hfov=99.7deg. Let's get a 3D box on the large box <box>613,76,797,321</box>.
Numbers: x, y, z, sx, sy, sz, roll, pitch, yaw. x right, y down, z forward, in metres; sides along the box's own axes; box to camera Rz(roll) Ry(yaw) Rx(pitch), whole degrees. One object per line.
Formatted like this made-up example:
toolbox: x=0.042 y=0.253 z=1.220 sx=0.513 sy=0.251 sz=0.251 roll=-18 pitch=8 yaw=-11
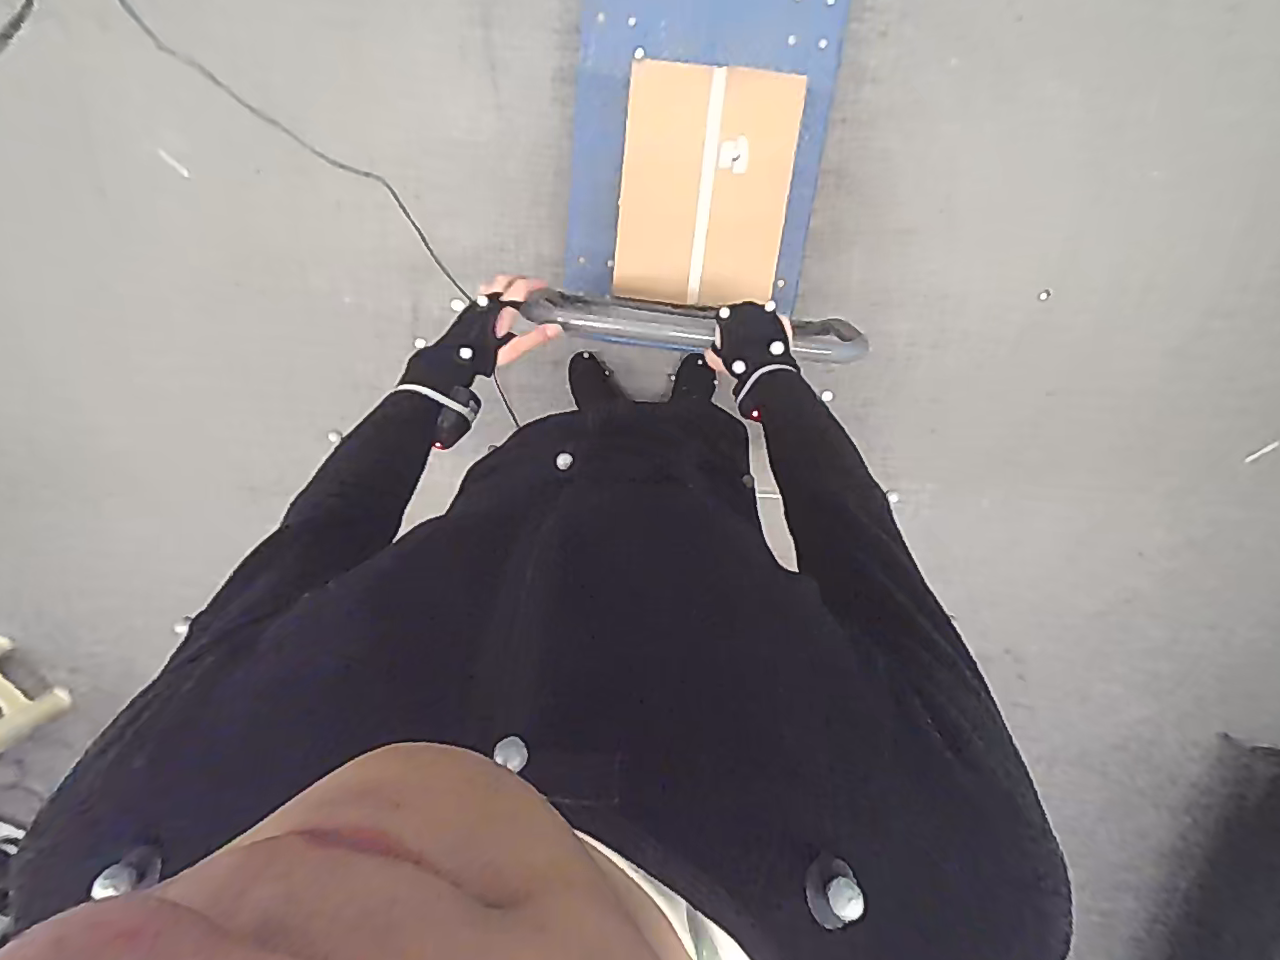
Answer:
large box: x=0.123 y=-0.566 z=1.171 sx=0.320 sy=0.320 sz=0.408 roll=6 pitch=105 yaw=0
